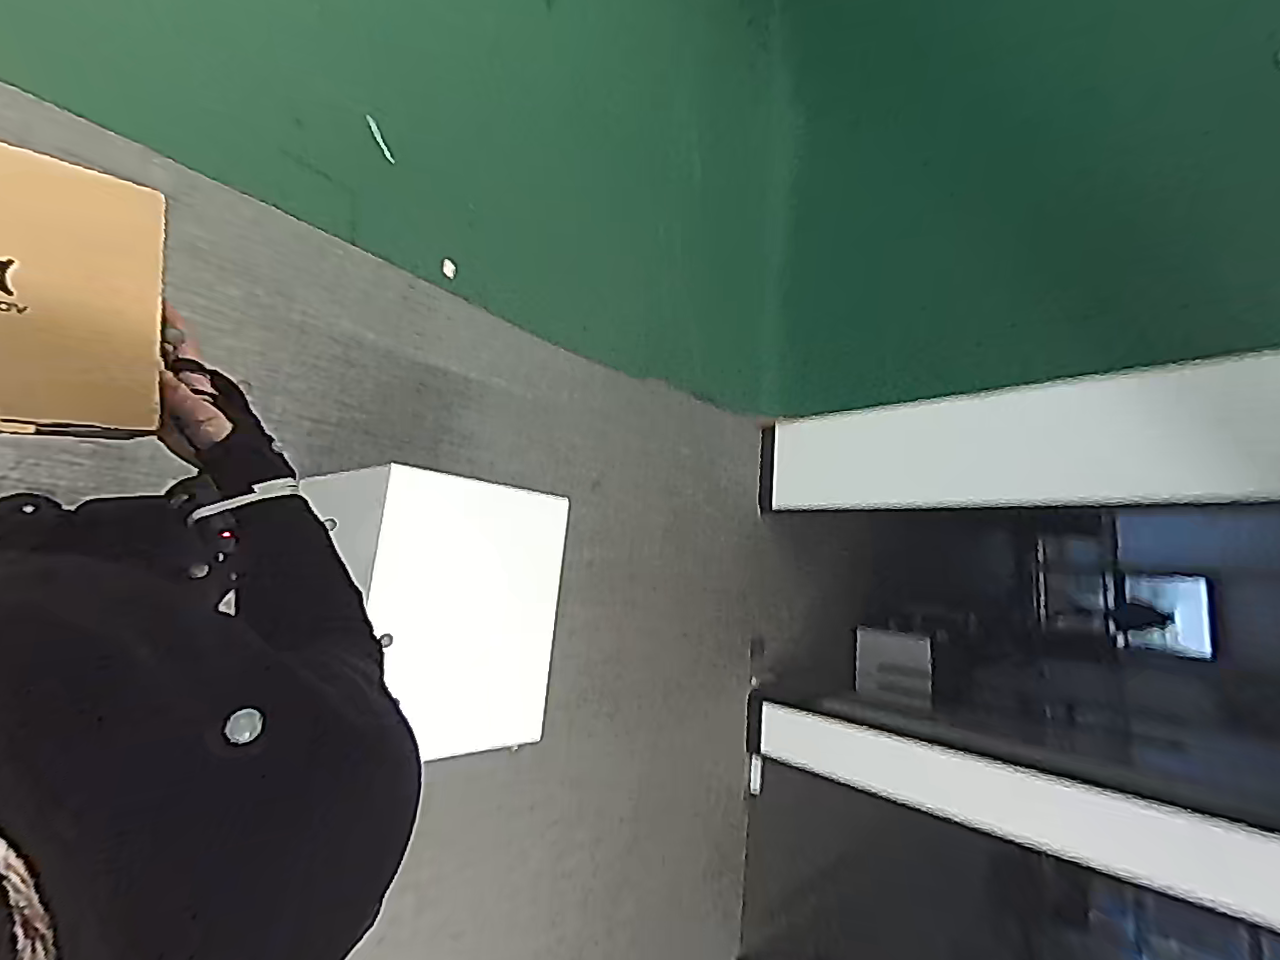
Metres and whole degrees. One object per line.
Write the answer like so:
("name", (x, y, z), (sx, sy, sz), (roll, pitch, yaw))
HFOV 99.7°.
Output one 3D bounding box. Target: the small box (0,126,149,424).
("small box", (-0.461, -0.133, 0.369), (0.168, 0.176, 0.179), (0, 94, -49))
